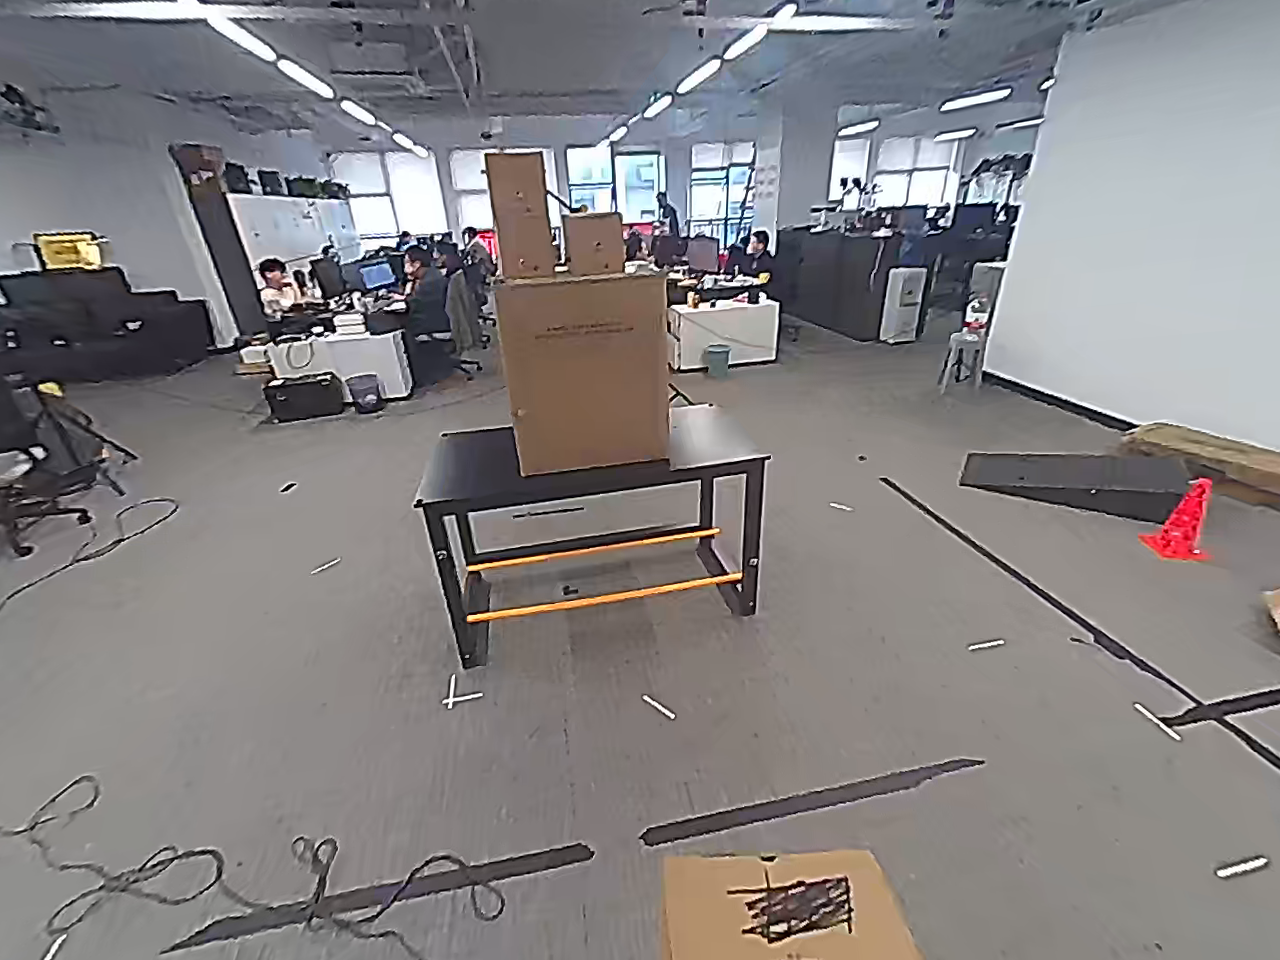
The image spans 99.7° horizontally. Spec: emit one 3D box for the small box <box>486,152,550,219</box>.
[{"bbox_3d":[-0.366,-0.879,1.622,0.168,0.176,0.179,-9,28,-12],"label":"small box"}]

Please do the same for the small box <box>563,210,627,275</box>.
[{"bbox_3d":[-0.142,-0.750,1.711,0.168,0.176,0.179,-10,30,-11],"label":"small box"}]

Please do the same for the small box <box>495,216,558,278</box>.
[{"bbox_3d":[-0.359,-0.734,1.701,0.168,0.176,0.179,-10,30,-14],"label":"small box"}]
